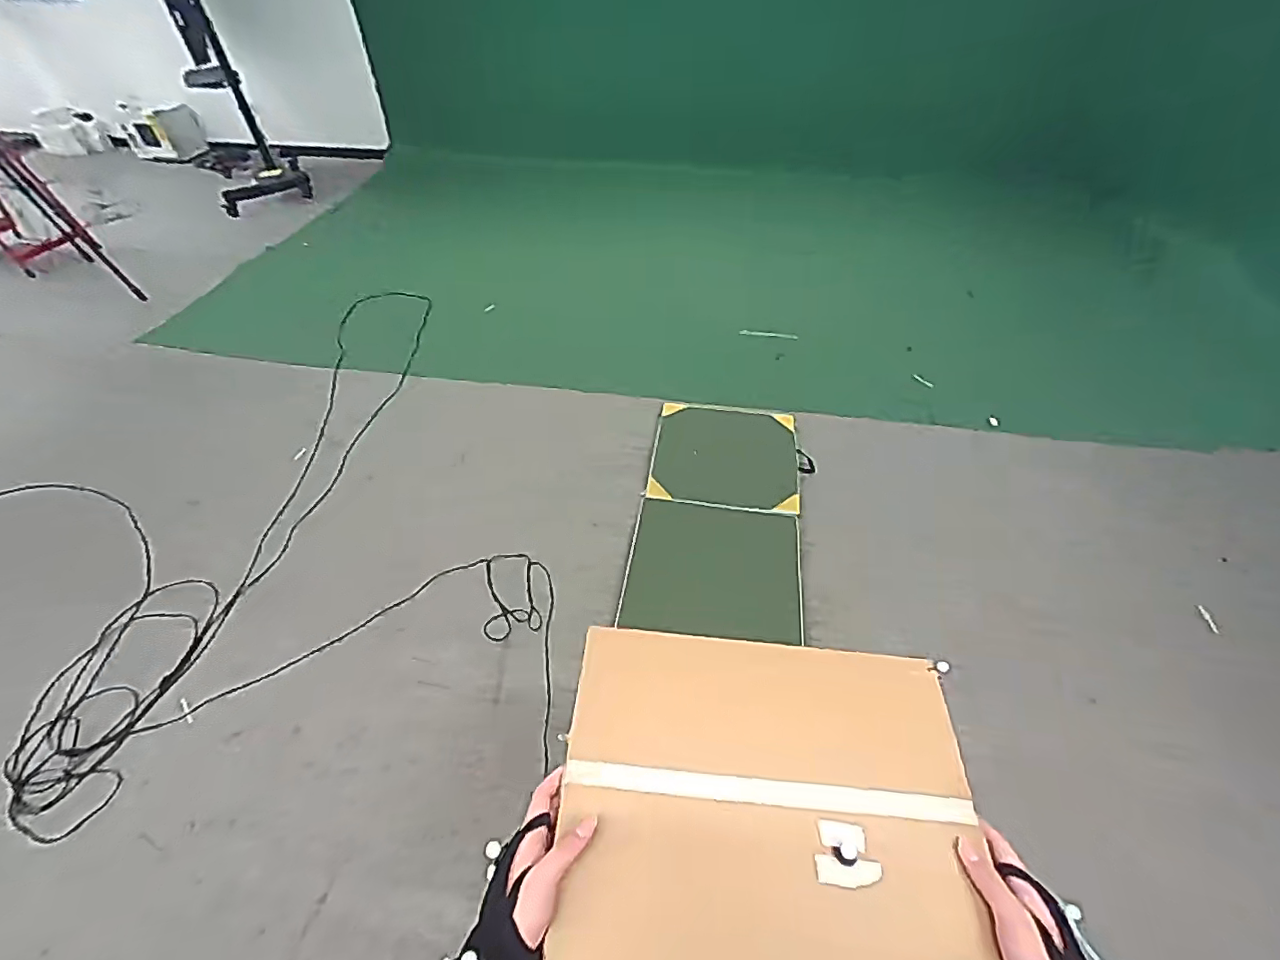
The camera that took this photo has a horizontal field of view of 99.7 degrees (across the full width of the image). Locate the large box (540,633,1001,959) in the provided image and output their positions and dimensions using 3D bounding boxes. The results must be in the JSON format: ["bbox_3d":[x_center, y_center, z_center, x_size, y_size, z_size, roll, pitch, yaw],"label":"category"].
[{"bbox_3d":[0.113,0.411,0.657,0.408,0.320,0.320,5,49,1],"label":"large box"}]
